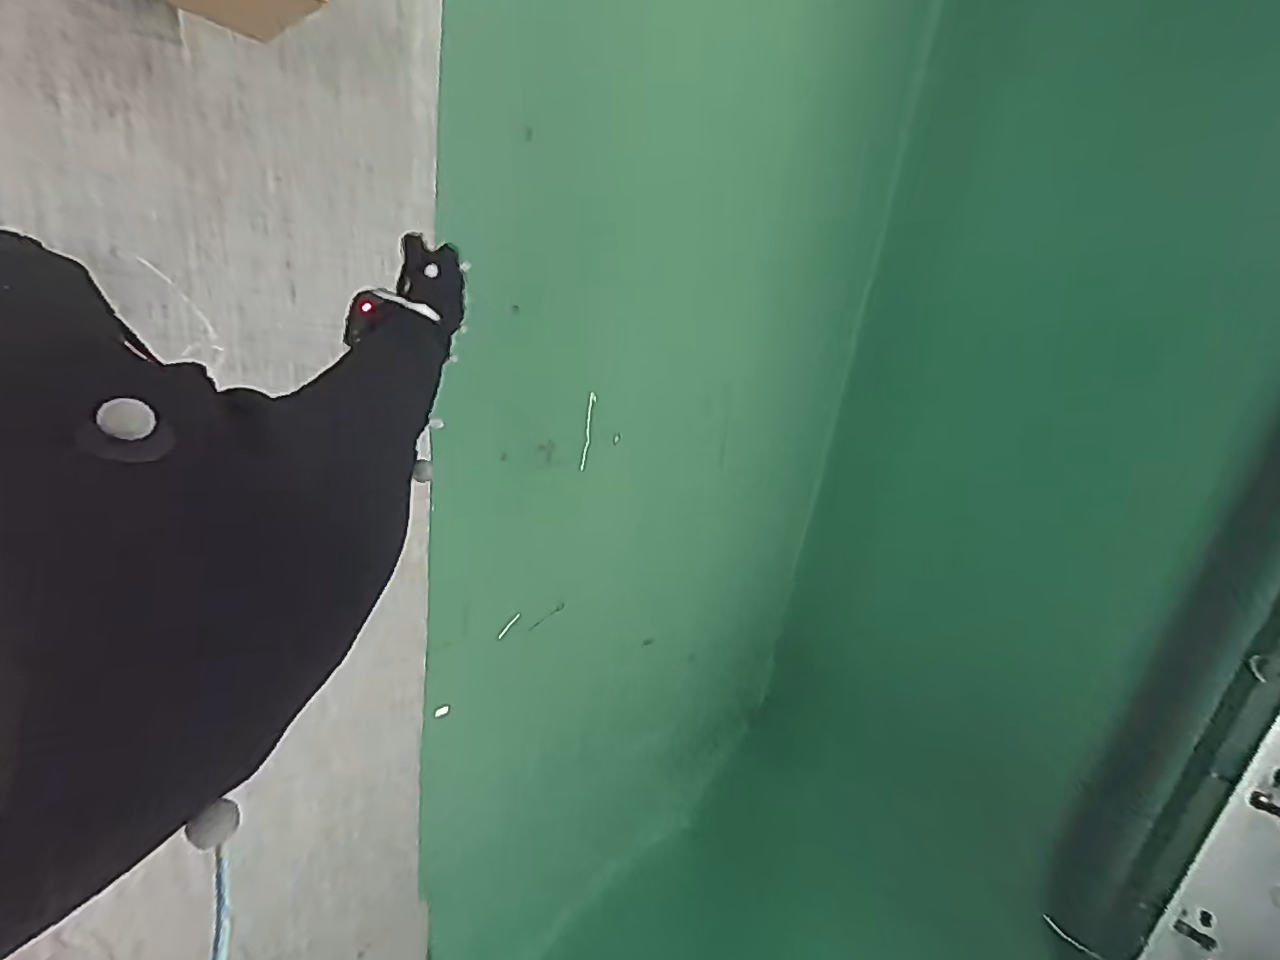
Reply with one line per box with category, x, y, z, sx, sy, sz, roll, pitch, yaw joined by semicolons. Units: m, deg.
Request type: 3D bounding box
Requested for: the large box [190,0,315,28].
large box;-0.687;-0.895;0.714;0.408;0.320;0.320;-9;114;-48
